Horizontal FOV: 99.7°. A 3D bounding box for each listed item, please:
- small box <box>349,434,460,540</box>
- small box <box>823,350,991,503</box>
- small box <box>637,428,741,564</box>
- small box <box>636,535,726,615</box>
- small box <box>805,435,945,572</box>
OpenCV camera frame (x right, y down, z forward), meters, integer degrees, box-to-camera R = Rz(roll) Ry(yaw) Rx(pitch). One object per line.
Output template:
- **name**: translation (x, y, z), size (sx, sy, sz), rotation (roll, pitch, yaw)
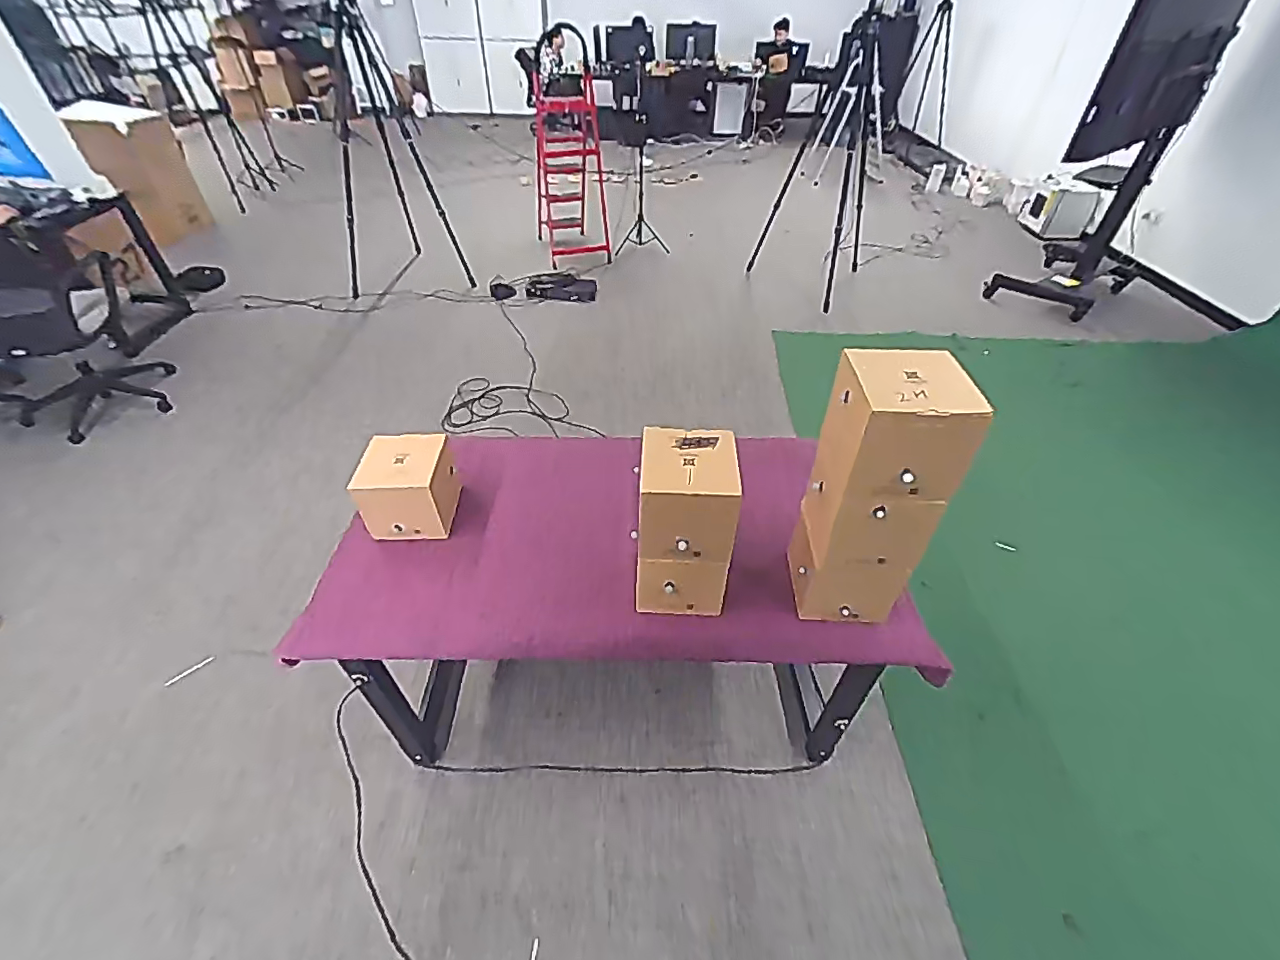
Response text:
- **small box**: translation (-0.514, 0.015, 1.212), size (0.168, 0.176, 0.179), rotation (-1, 44, -2)
- **small box**: translation (0.399, -0.086, 0.849), size (0.168, 0.176, 0.179), rotation (2, 43, 3)
- **small box**: translation (0.083, 0.027, 0.970), size (0.168, 0.176, 0.179), rotation (2, 42, 2)
- **small box**: translation (0.079, 0.151, 1.078), size (0.168, 0.176, 0.179), rotation (2, 41, 2)
- **small box**: translation (0.399, 0.039, 0.957), size (0.168, 0.176, 0.179), rotation (2, 42, 3)
